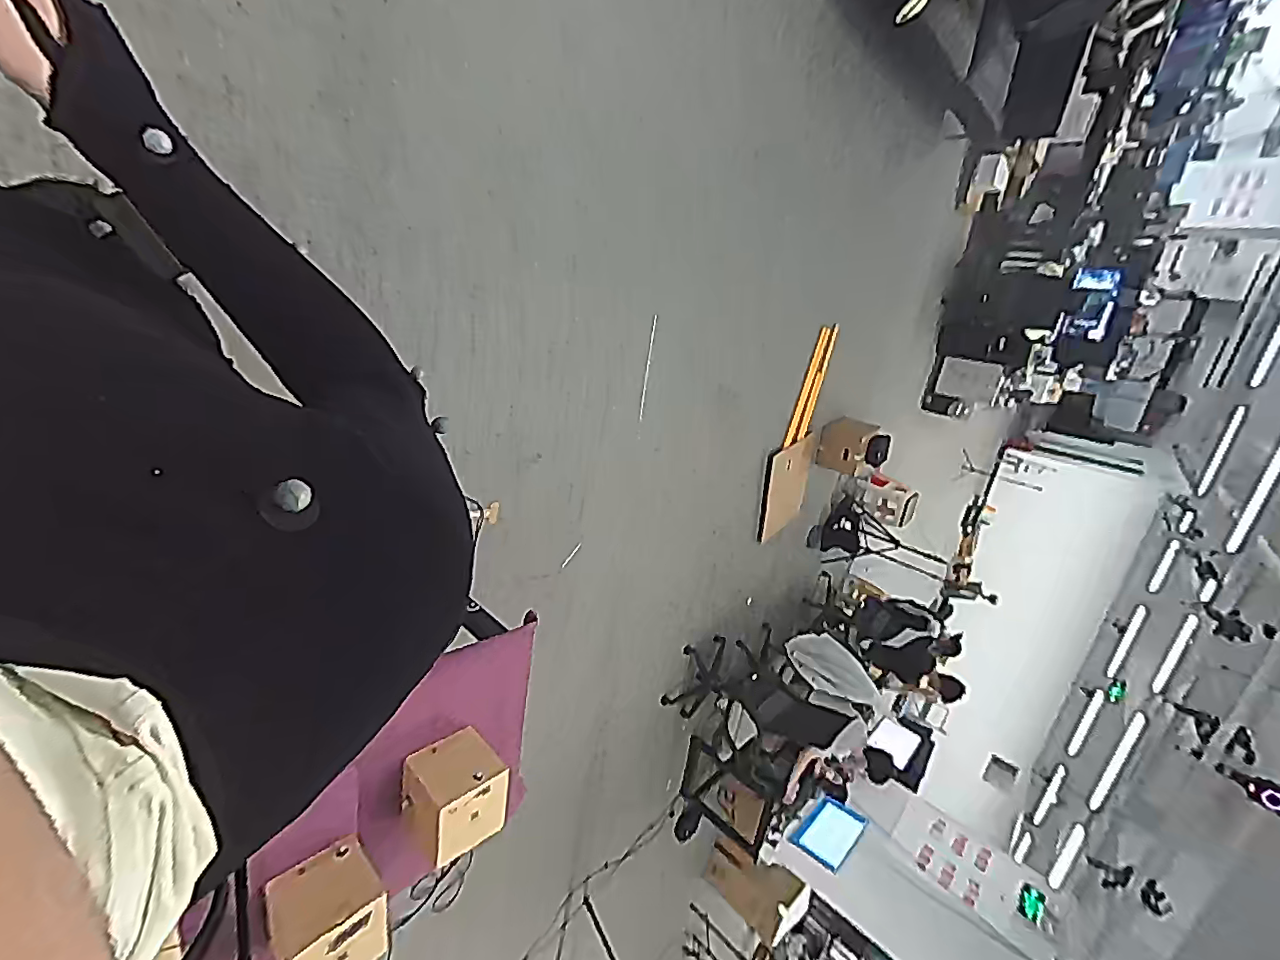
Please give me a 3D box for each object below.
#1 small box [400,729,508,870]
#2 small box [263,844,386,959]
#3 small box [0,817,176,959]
[{"bbox_3d":[-0.422,0.706,1.216,0.168,0.176,0.179,-11,117,-48],"label":"small box"},{"bbox_3d":[-0.620,0.865,1.064,0.168,0.176,0.179,-12,118,-46],"label":"small box"},{"bbox_3d":[-0.774,0.629,0.758,0.168,0.176,0.179,-10,117,-48],"label":"small box"}]
